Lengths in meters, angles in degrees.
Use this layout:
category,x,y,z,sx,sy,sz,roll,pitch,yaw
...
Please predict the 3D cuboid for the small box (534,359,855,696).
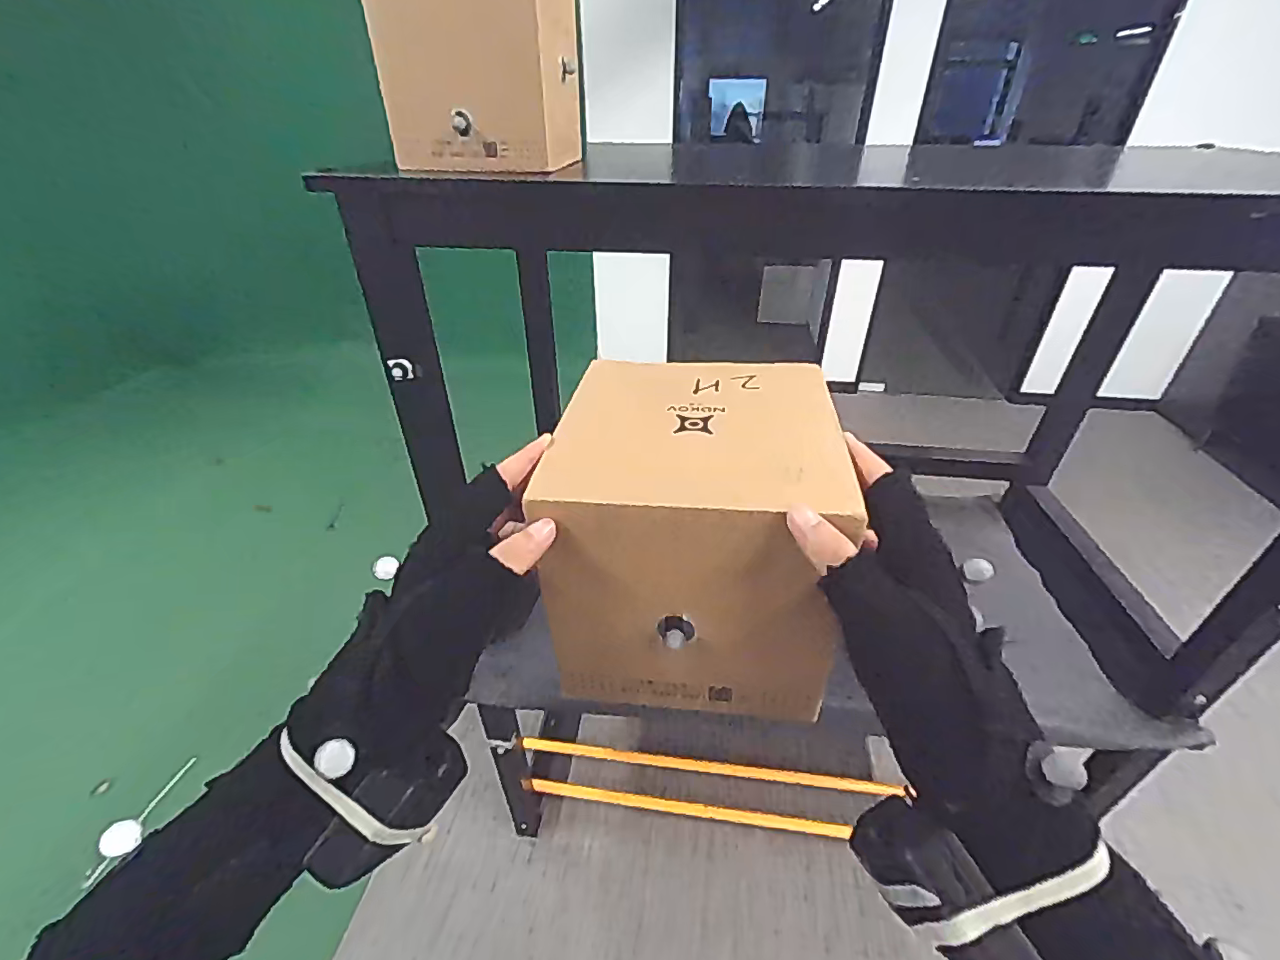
category,x,y,z,sx,sy,sz,roll,pitch,yaw
small box,0.041,0.026,0.381,0.168,0.176,0.179,3,35,8
